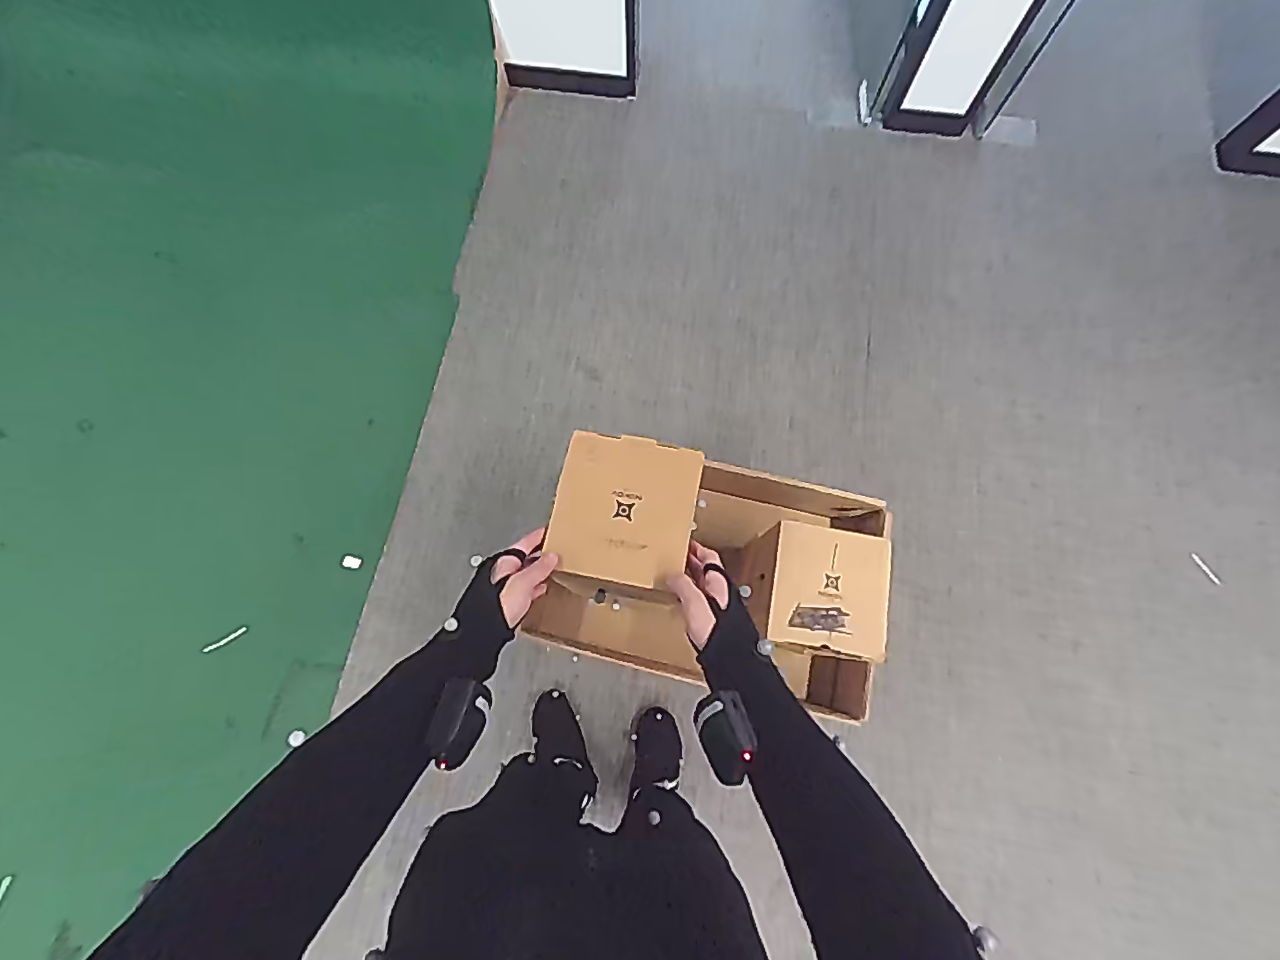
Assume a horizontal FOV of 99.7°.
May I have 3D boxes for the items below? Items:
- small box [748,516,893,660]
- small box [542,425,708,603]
[{"bbox_3d":[0.271,0.172,0.842,0.168,0.176,0.179,11,74,3],"label":"small box"},{"bbox_3d":[-0.015,0.053,0.706,0.168,0.176,0.179,12,73,4],"label":"small box"}]
